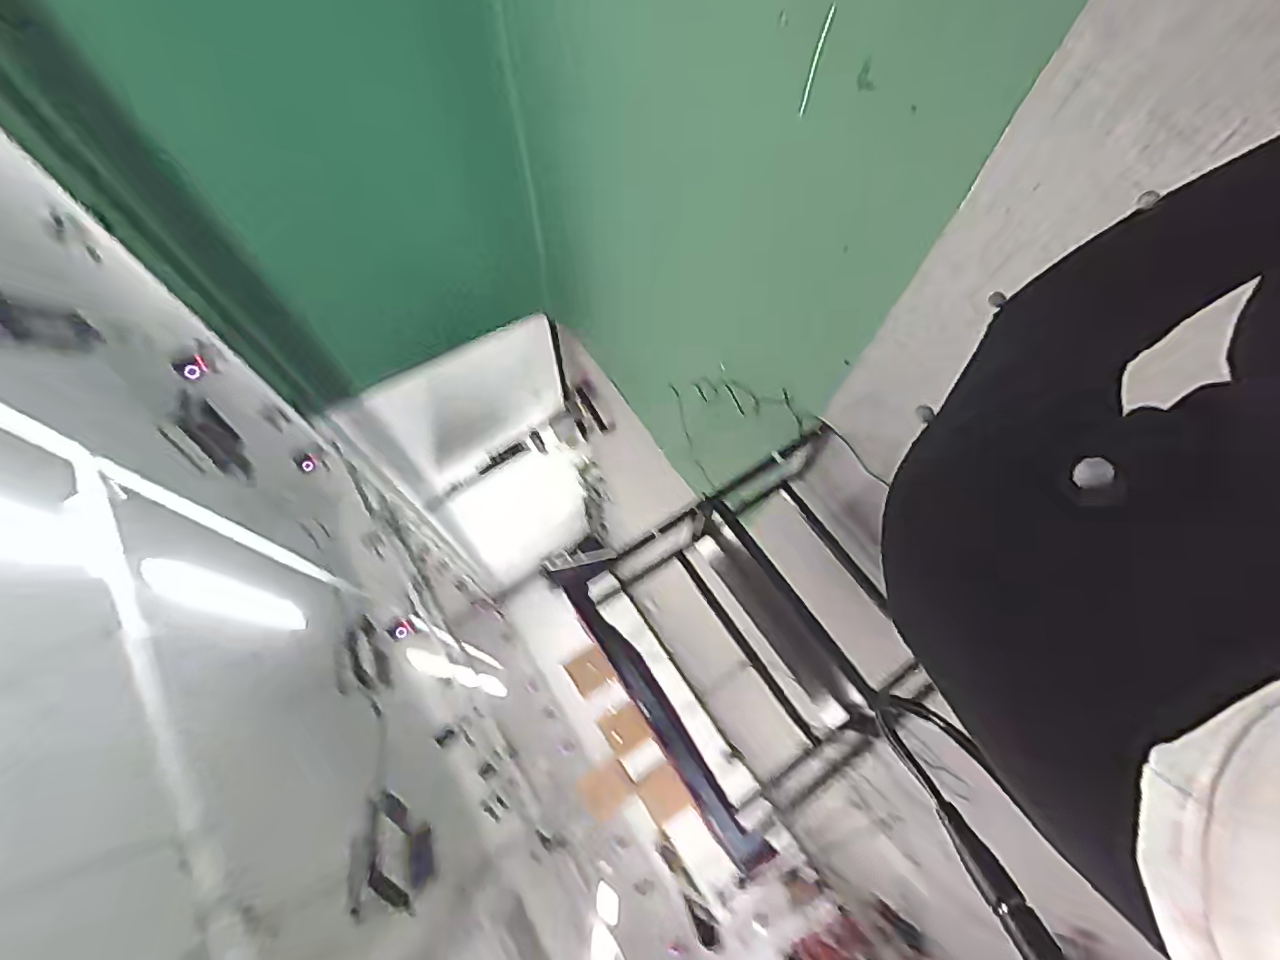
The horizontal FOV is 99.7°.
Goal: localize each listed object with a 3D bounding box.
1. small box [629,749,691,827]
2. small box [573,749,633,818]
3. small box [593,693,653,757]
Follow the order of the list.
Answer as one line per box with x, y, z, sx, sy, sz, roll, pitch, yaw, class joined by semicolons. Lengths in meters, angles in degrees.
0.074;1.150;2.030;0.179;0.176;0.168;56;166;16;small box
-0.132;1.139;2.046;0.168;0.176;0.179;55;166;21;small box
-0.066;0.953;2.119;0.179;0.176;0.168;53;165;20;small box
